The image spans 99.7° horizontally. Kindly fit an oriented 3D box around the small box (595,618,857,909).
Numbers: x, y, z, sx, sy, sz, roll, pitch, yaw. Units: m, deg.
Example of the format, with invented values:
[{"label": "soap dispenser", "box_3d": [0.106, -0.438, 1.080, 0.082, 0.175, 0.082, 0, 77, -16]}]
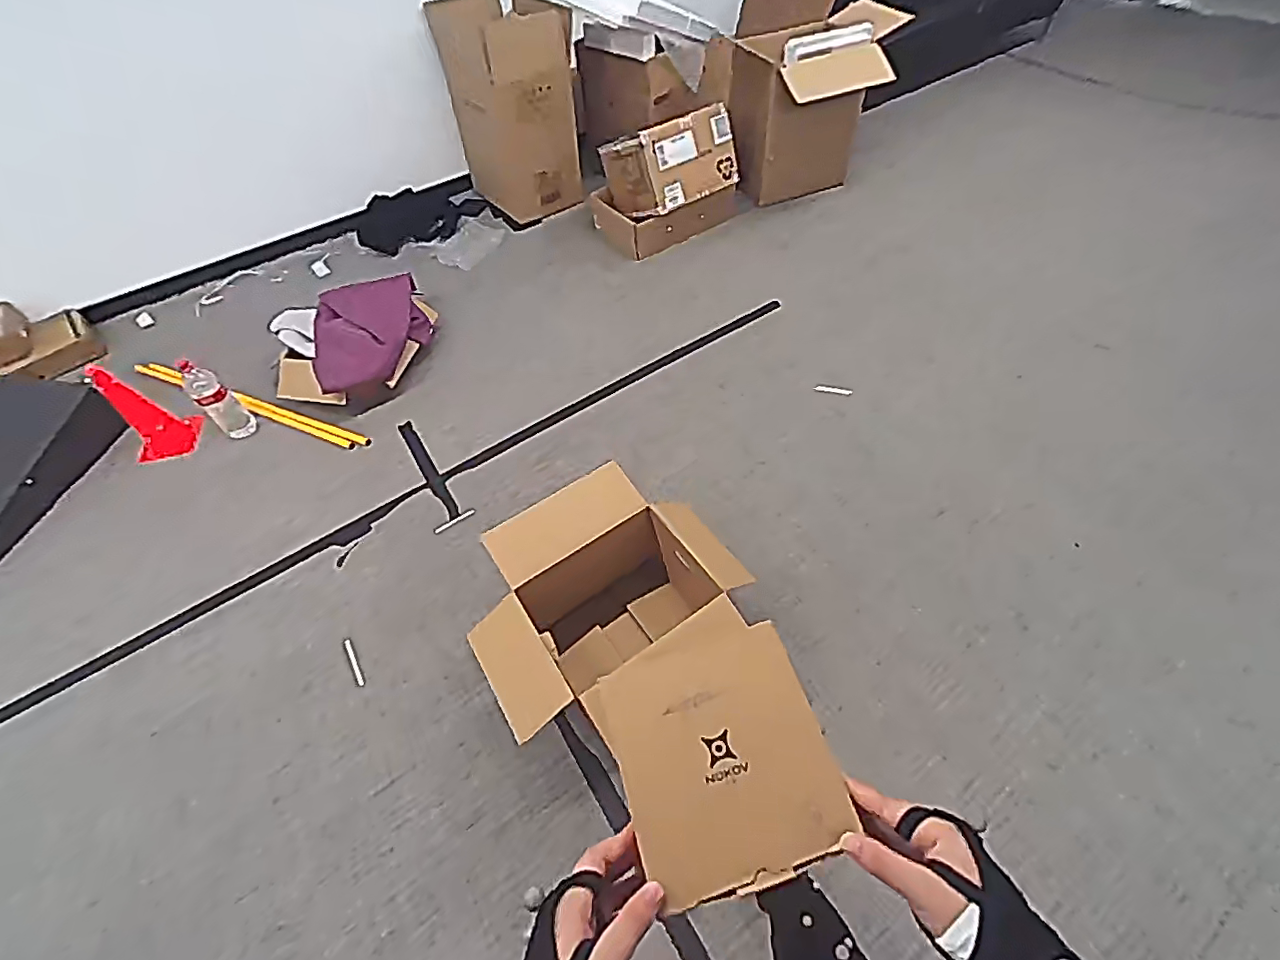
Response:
[{"label": "small box", "box_3d": [0.069, 0.257, 0.505, 0.168, 0.176, 0.179, -17, 58, -5]}]
